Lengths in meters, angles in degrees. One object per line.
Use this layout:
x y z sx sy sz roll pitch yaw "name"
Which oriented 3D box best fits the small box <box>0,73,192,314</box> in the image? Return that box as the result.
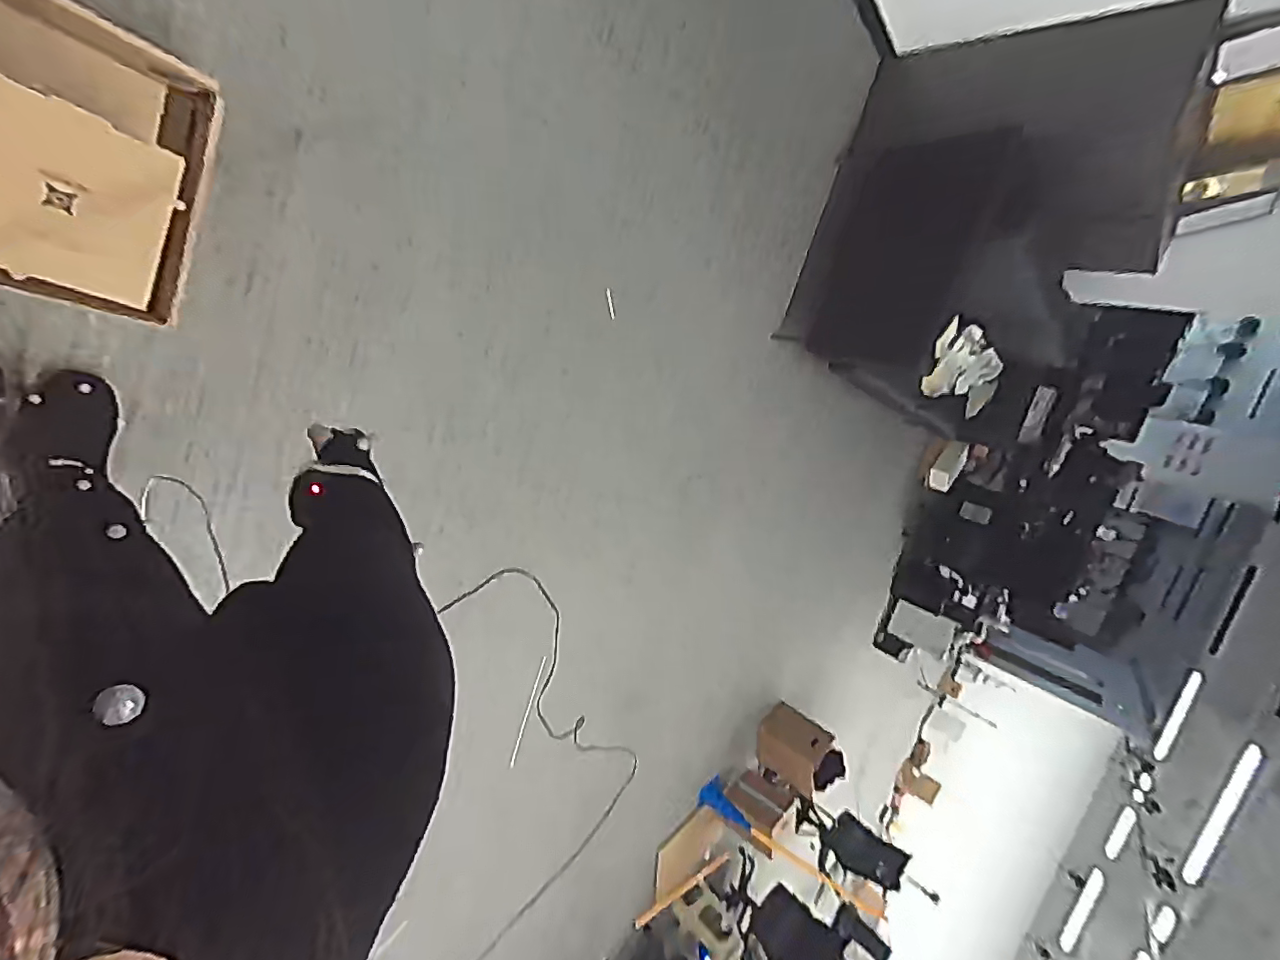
-0.638 -0.309 0.604 0.168 0.176 0.179 15 98 -48 "small box"
